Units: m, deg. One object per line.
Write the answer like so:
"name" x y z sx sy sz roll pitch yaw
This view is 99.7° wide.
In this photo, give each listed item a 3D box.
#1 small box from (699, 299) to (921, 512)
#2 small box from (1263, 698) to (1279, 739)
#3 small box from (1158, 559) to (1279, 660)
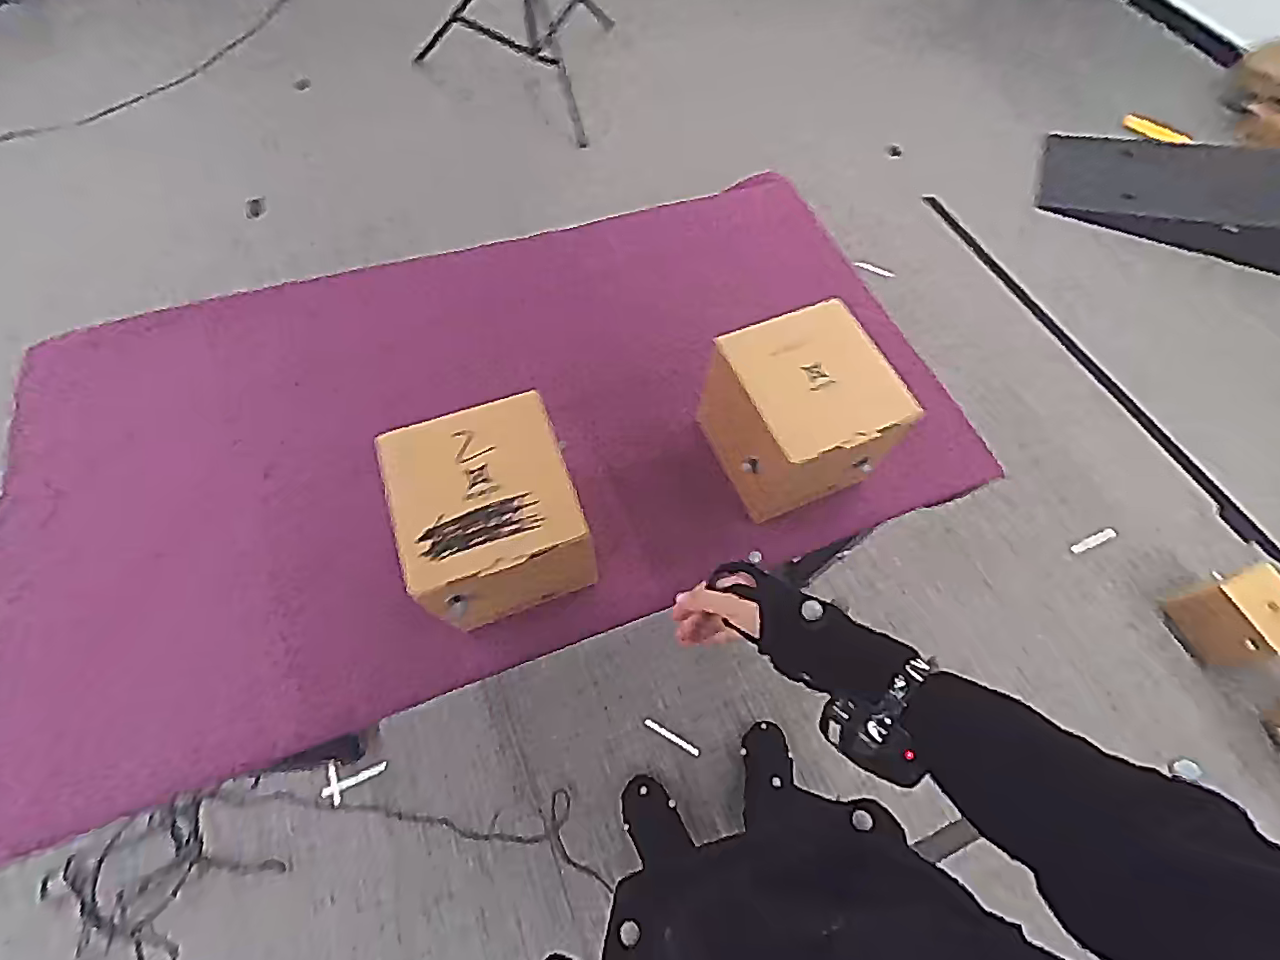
"small box" 0.188 -0.078 0.656 0.168 0.176 0.179 -21 67 -13
"small box" 1.596 0.568 1.218 0.179 0.176 0.168 -21 68 -12
"small box" 1.455 0.323 1.328 0.168 0.176 0.179 -20 68 -12
